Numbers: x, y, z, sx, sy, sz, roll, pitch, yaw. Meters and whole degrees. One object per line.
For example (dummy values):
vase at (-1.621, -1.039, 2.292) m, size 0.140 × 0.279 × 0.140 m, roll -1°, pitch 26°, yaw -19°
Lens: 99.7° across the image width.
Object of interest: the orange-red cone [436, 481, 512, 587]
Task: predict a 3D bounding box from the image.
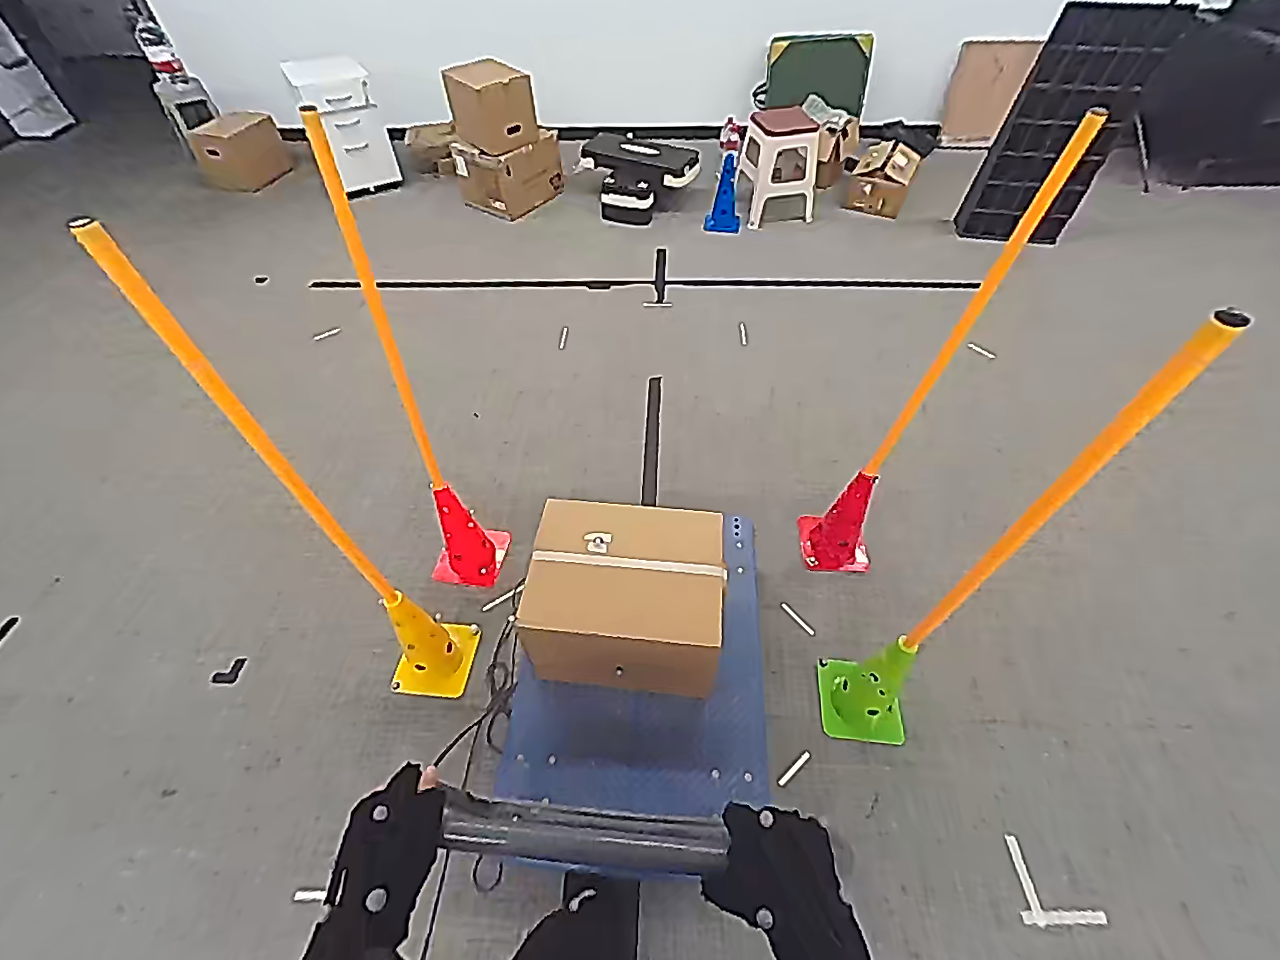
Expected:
orange-red cone at (-0.521, 0.128, 1.575) m, size 0.198 × 0.360 × 0.199 m, roll 8°, pitch 50°, yaw 6°

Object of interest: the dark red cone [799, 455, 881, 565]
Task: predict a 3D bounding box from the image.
dark red cone at (0.612, 0.073, 1.570) m, size 0.201 × 0.394 × 0.202 m, roll 3°, pitch 51°, yaw 1°

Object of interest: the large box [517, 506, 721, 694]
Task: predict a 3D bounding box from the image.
large box at (-0.025, 0.283, 1.249) m, size 0.408 × 0.320 × 0.320 m, roll 4°, pitch 51°, yaw 5°

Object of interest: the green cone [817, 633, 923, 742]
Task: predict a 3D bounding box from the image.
green cone at (0.571, 0.458, 1.276) m, size 0.202 × 0.368 × 0.200 m, roll 5°, pitch 51°, yaw 4°
